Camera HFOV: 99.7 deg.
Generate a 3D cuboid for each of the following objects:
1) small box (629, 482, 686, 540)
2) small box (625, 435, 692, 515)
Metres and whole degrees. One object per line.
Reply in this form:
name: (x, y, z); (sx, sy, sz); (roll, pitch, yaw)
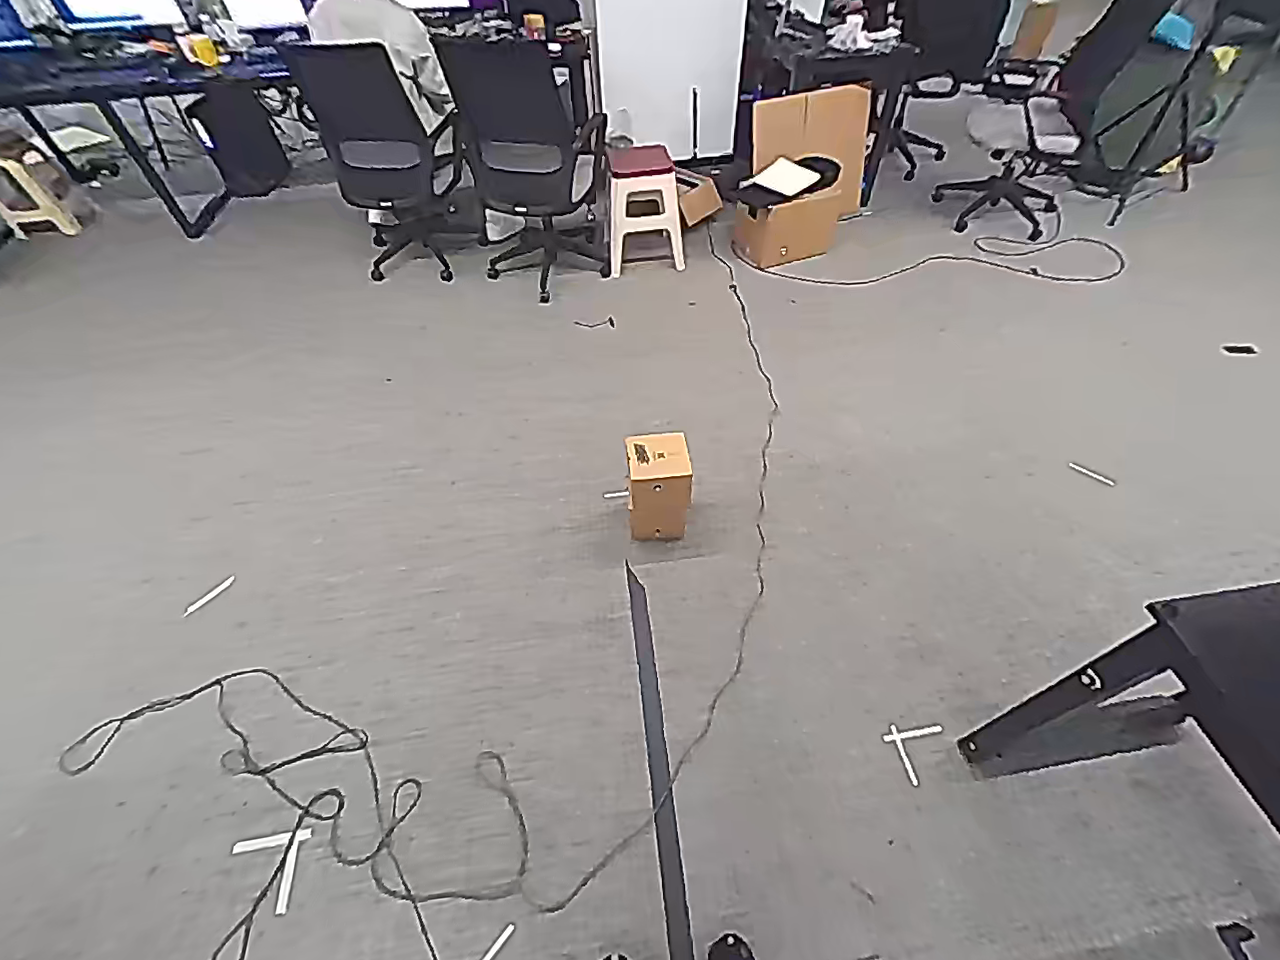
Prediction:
small box: (0.053, 0.082, 1.746); (0.179, 0.176, 0.168); (-1, 51, 0)
small box: (0.055, -0.011, 1.608); (0.179, 0.176, 0.168); (-6, 51, -3)
